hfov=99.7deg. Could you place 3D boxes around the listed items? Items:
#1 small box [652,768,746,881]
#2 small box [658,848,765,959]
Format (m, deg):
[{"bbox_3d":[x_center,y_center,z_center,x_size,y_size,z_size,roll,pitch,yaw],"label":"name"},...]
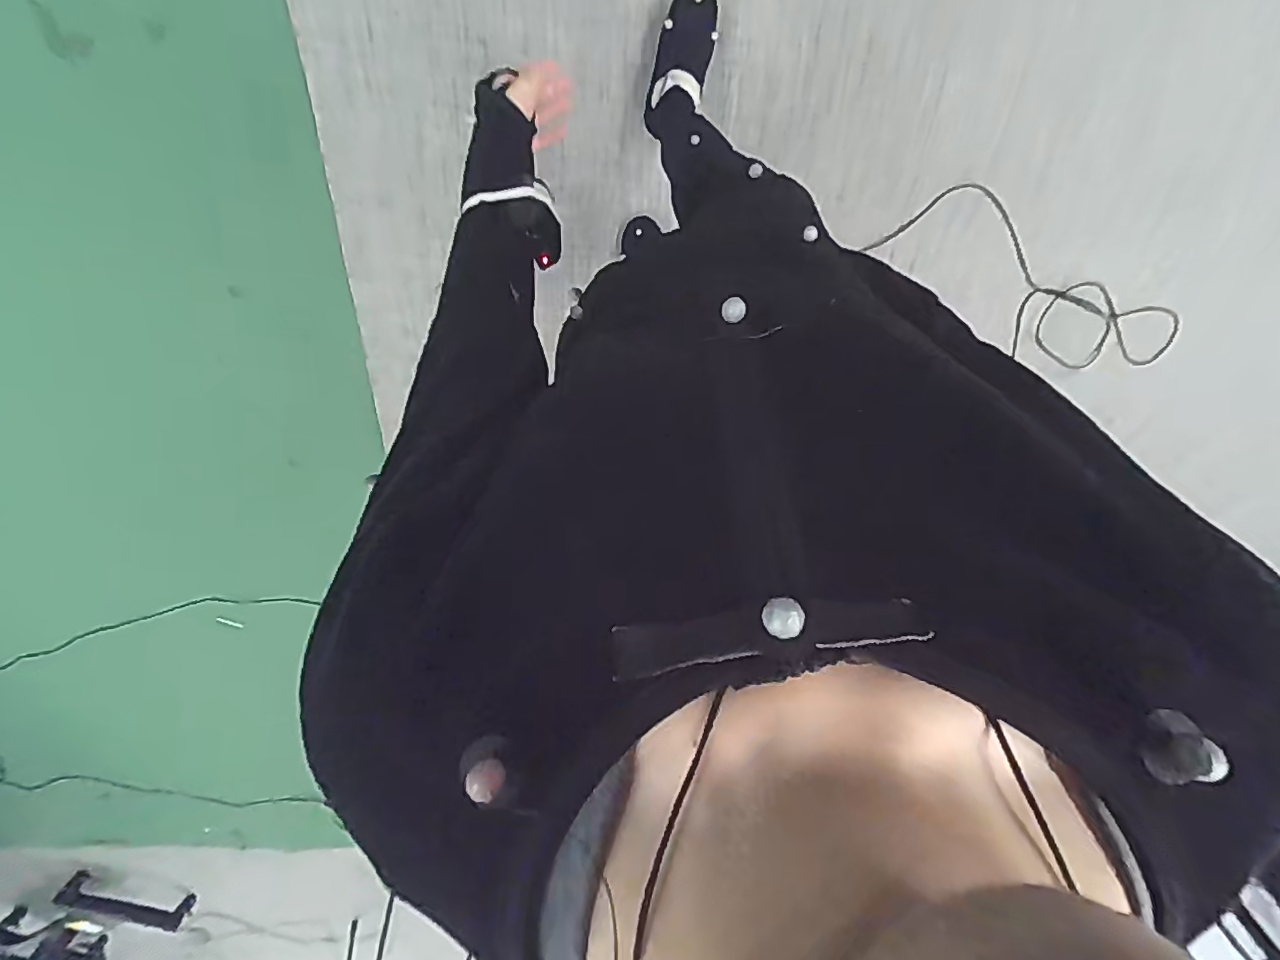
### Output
[{"bbox_3d":[0.123,0.763,1.203,0.179,0.176,0.168,1,123,-4],"label":"small box"},{"bbox_3d":[0.129,0.850,1.064,0.179,0.176,0.168,2,124,-4],"label":"small box"}]
